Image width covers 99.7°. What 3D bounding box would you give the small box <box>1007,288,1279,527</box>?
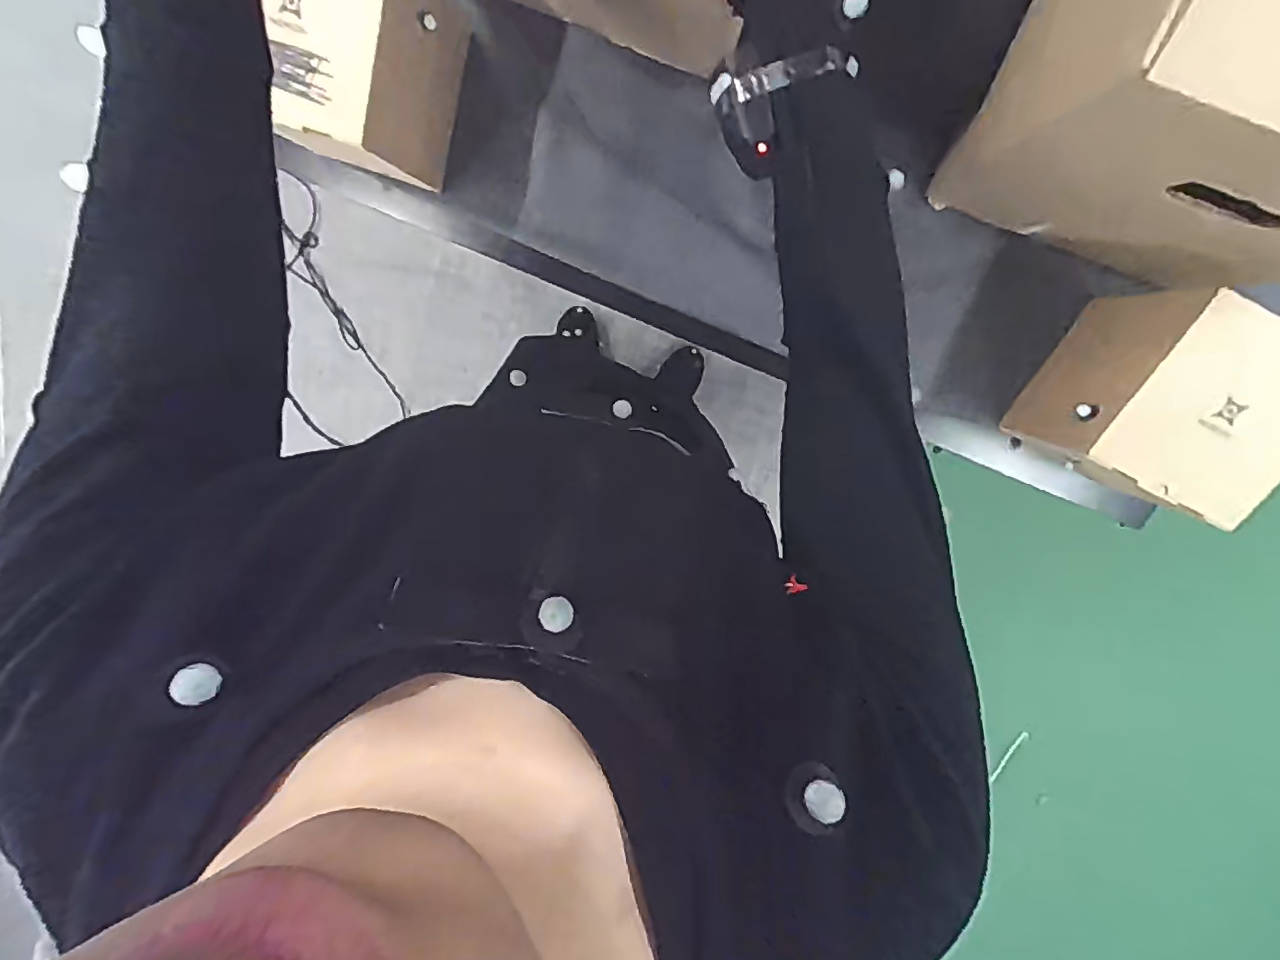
[{"bbox_3d":[0.549,-0.085,0.580,0.168,0.176,0.179,27,109,-2],"label":"small box"}]
